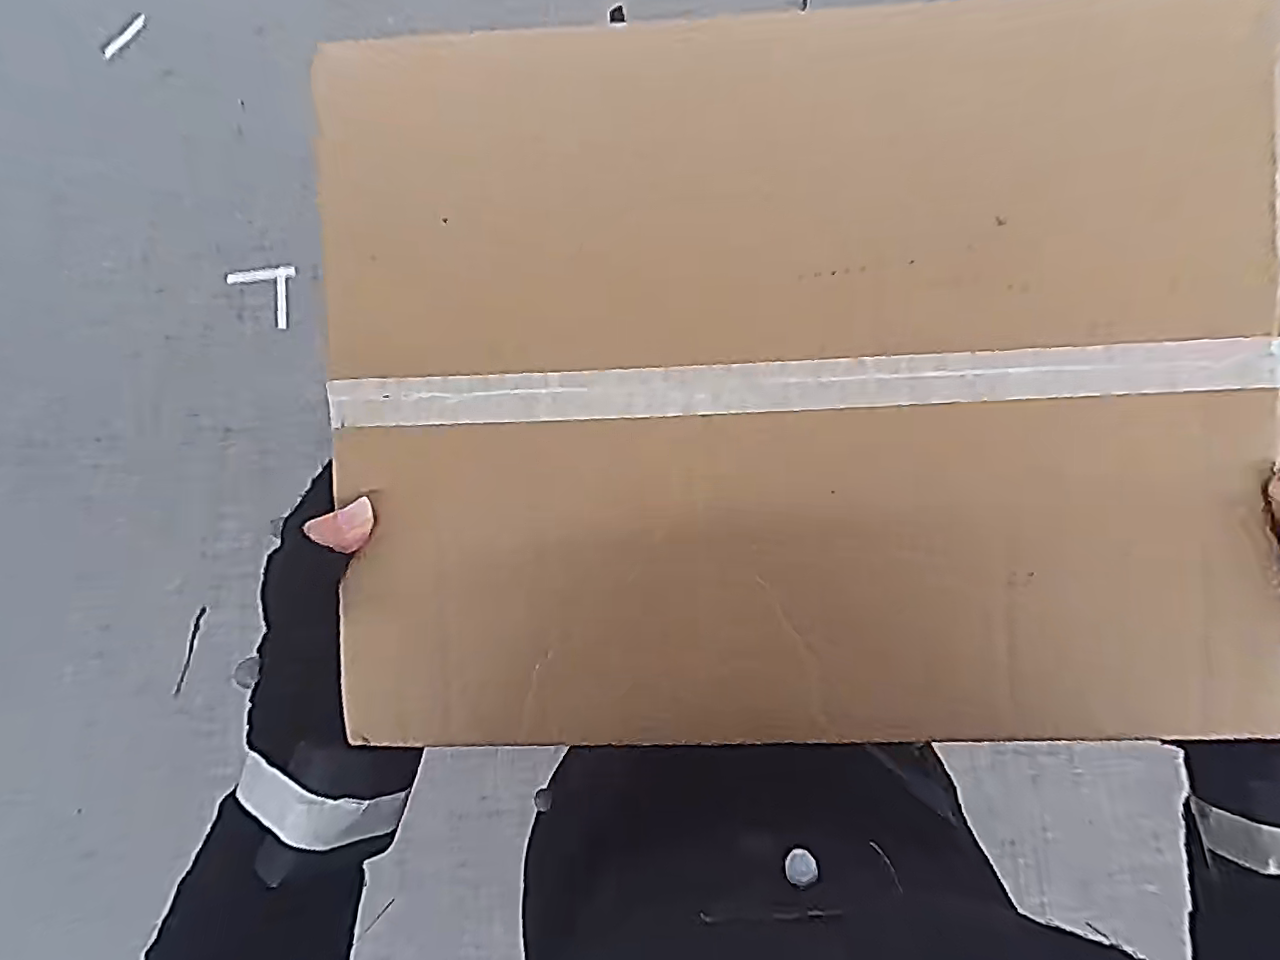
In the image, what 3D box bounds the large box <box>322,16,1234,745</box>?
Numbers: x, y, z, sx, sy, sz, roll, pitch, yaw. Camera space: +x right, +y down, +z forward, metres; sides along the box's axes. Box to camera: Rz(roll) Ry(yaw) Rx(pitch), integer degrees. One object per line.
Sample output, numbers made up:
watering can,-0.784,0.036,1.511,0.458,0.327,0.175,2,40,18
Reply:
large box,0.066,-0.041,0.394,0.408,0.320,0.320,-3,91,3
